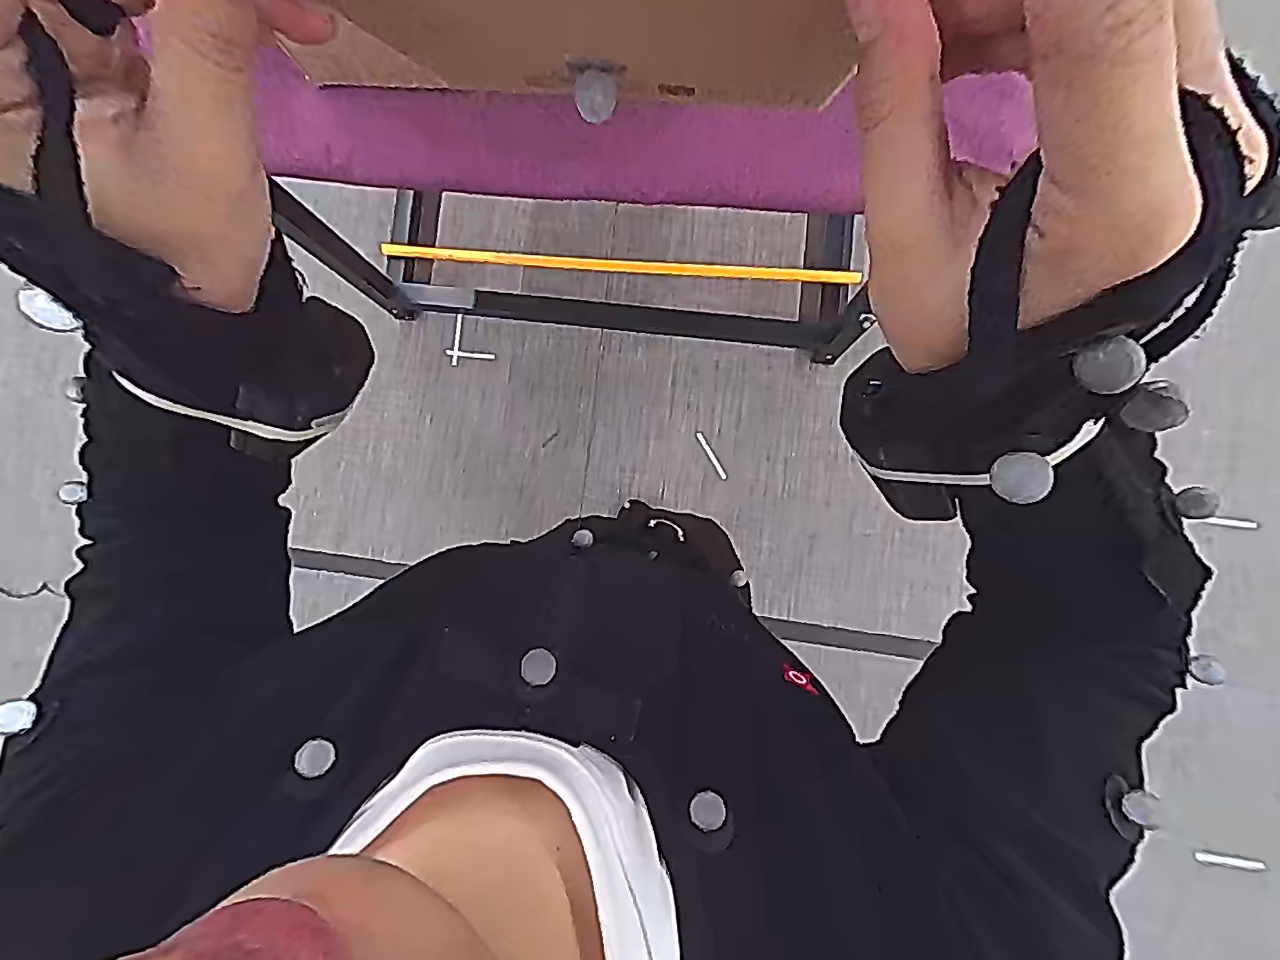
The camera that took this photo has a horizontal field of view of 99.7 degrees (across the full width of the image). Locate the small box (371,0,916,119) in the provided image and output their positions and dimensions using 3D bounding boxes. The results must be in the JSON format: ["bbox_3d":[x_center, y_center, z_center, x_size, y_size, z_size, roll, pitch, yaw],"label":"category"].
[{"bbox_3d":[-0.004,-0.214,0.131,0.168,0.176,0.179,7,114,3],"label":"small box"}]
